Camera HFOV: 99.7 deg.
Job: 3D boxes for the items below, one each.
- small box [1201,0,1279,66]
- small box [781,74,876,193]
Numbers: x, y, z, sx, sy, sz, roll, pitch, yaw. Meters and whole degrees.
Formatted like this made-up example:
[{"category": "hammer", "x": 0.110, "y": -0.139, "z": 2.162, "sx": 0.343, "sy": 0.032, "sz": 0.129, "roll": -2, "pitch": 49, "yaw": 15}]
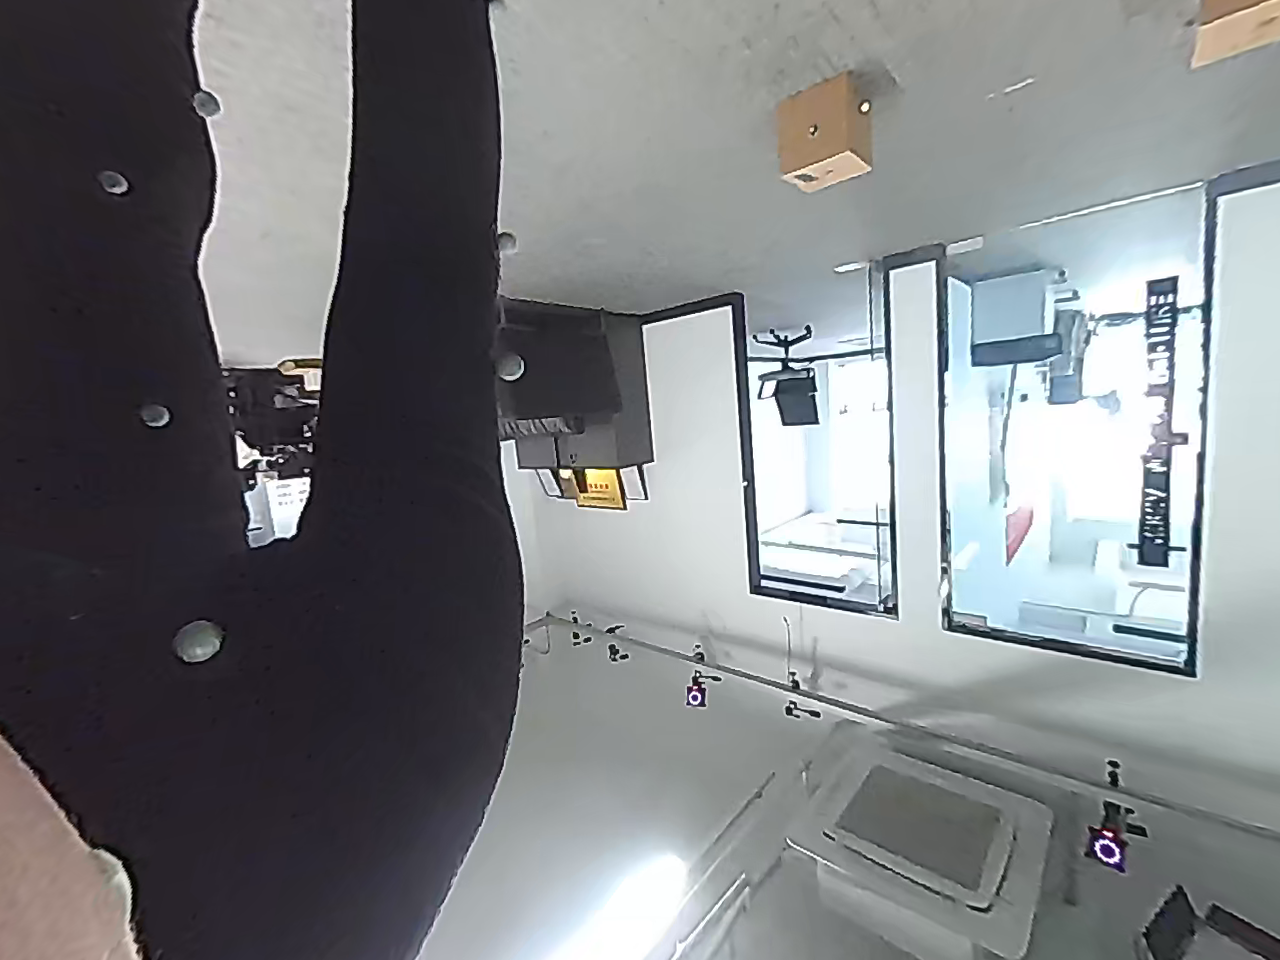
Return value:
[{"category": "small box", "x": 1.017, "y": -0.820, "z": 0.857, "sx": 0.168, "sy": 0.176, "sz": 0.179, "roll": 2, "pitch": -169, "yaw": 43}, {"category": "small box", "x": 0.456, "y": -0.828, "z": 1.307, "sx": 0.179, "sy": 0.176, "sz": 0.168, "roll": 1, "pitch": -170, "yaw": 42}]
